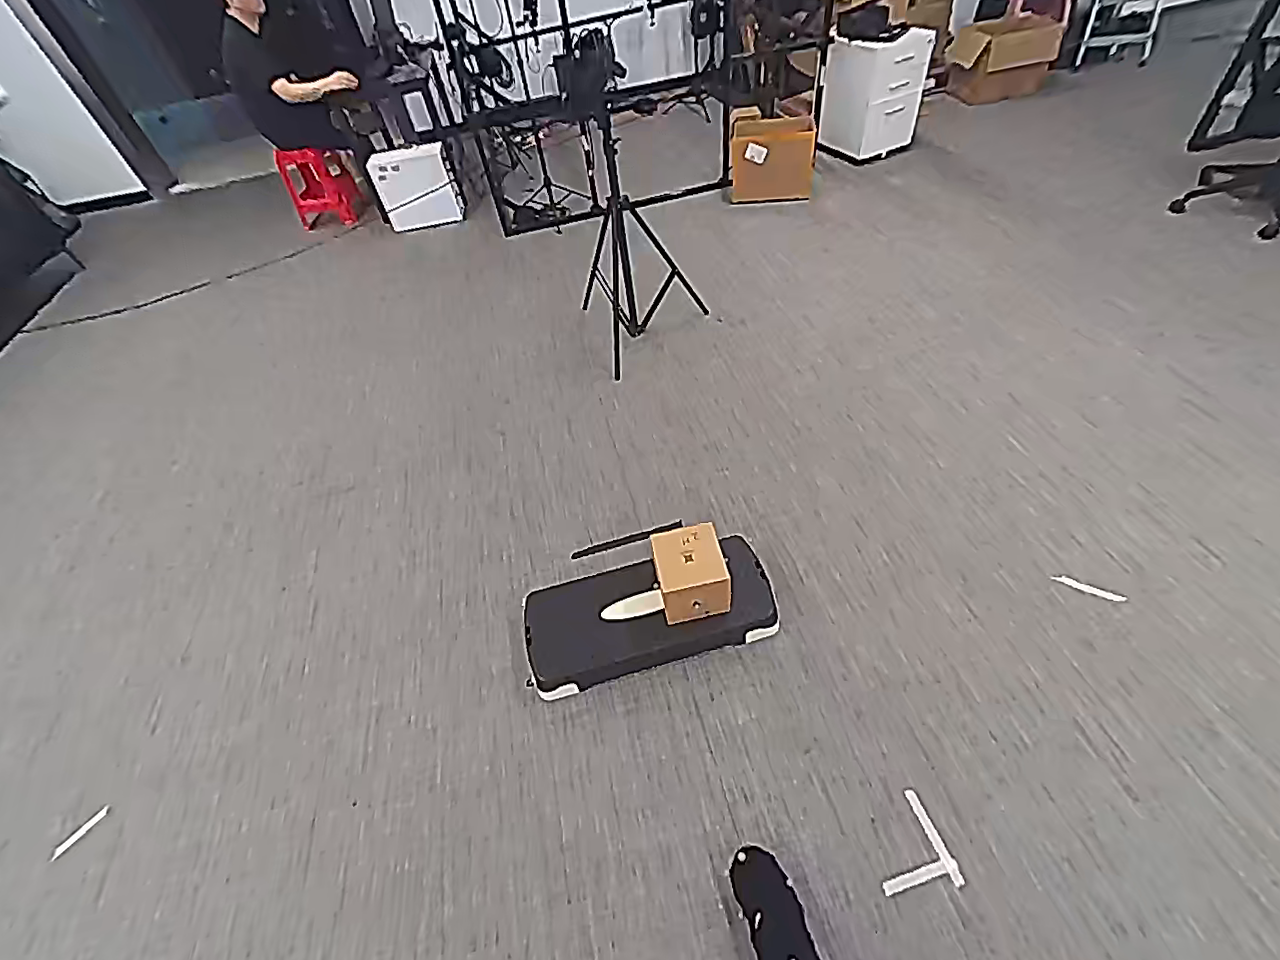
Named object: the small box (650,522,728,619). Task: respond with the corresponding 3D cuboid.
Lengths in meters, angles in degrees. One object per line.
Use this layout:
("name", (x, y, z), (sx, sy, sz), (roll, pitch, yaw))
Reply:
("small box", (0.127, 0.239, 1.387), (0.168, 0.176, 0.179), (-12, 48, -2))
